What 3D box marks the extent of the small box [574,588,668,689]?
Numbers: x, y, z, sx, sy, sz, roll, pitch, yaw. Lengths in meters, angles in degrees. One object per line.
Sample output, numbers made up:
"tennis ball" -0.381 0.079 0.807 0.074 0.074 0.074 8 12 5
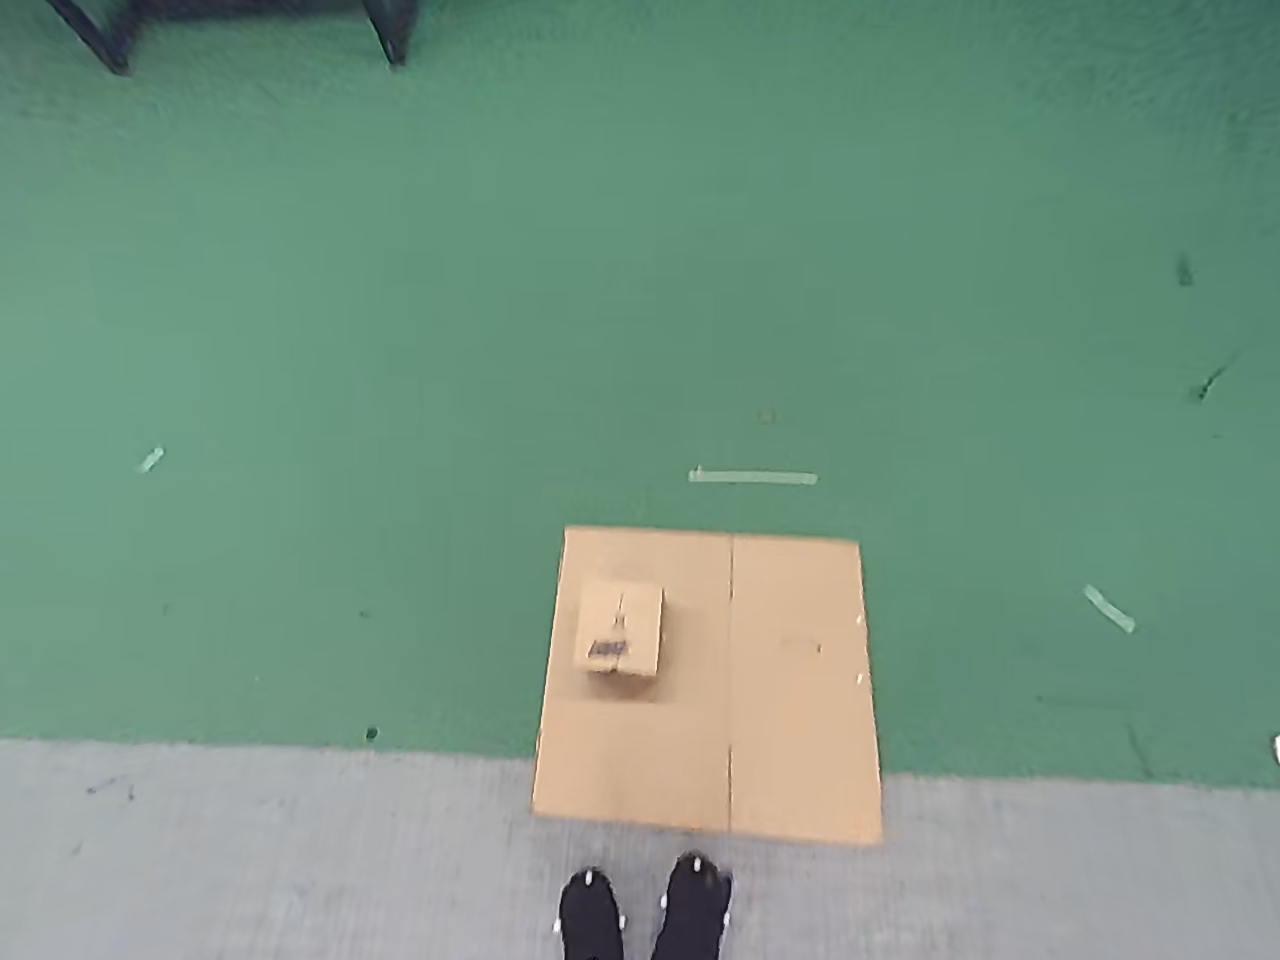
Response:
"small box" -0.031 0.338 1.133 0.168 0.176 0.179 3 66 6
